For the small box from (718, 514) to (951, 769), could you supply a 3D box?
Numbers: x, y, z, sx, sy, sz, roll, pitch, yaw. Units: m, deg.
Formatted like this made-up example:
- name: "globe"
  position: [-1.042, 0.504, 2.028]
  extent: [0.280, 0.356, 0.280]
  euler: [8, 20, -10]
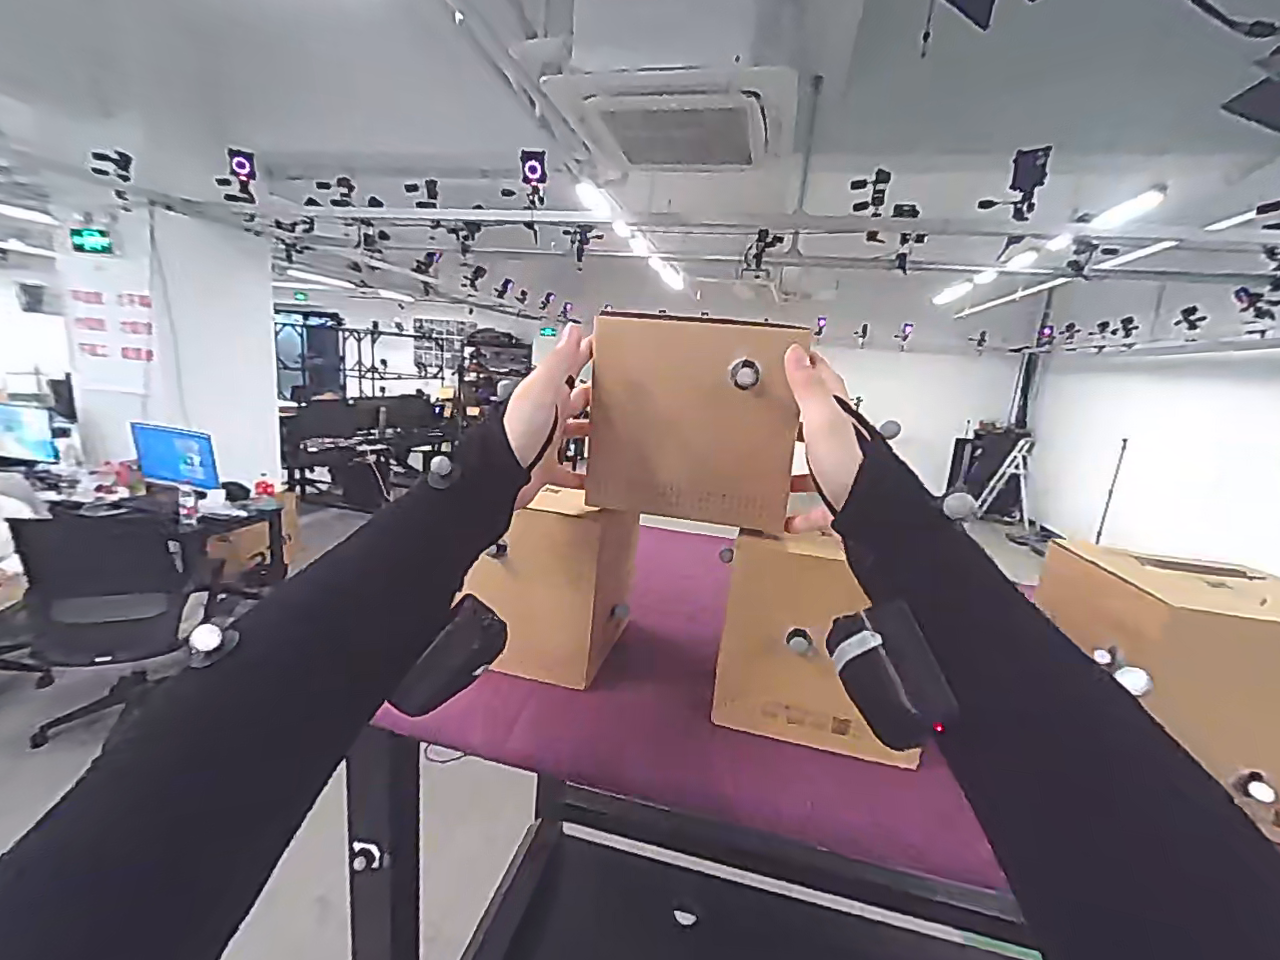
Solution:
- name: "small box"
  position: [0.168, 0.135, 0.510]
  extent: [0.168, 0.176, 0.179]
  euler: [7, 10, 13]

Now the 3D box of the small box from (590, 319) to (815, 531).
- name: "small box"
  position: [0.060, -0.058, 0.519]
  extent: [0.179, 0.176, 0.168]
  euler: [7, 14, 12]

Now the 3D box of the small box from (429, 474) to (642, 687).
- name: "small box"
  position: [-0.105, 0.095, 0.575]
  extent: [0.179, 0.176, 0.168]
  euler: [8, 11, 12]
